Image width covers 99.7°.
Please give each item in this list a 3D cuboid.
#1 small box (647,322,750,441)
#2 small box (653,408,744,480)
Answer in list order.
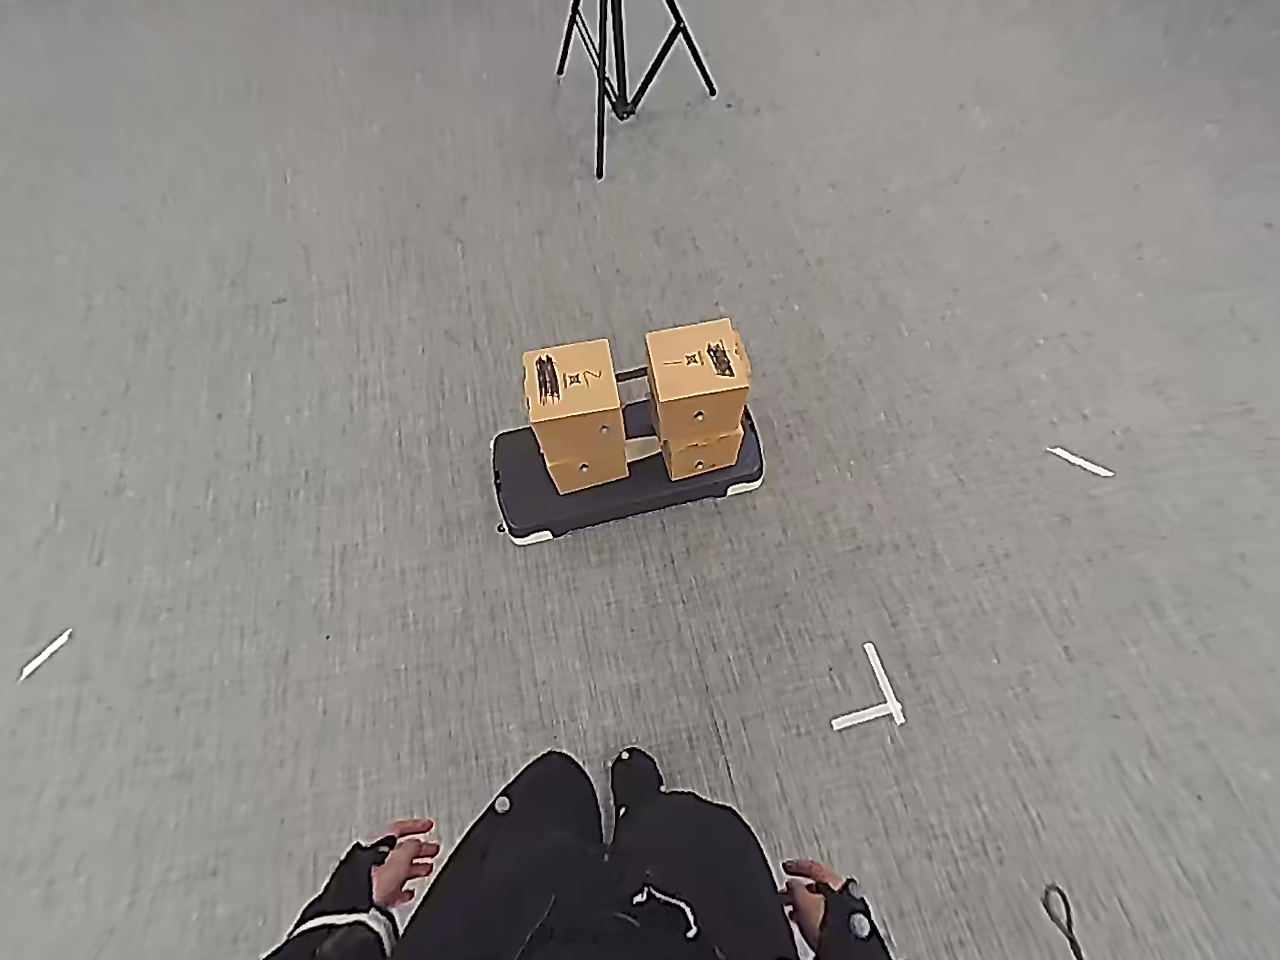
[{"bbox_3d":[0.114,-0.199,1.126,0.179,0.176,0.168,-10,67,-1],"label":"small box"},{"bbox_3d":[0.128,-0.124,1.272,0.168,0.176,0.179,-15,68,-4],"label":"small box"}]
